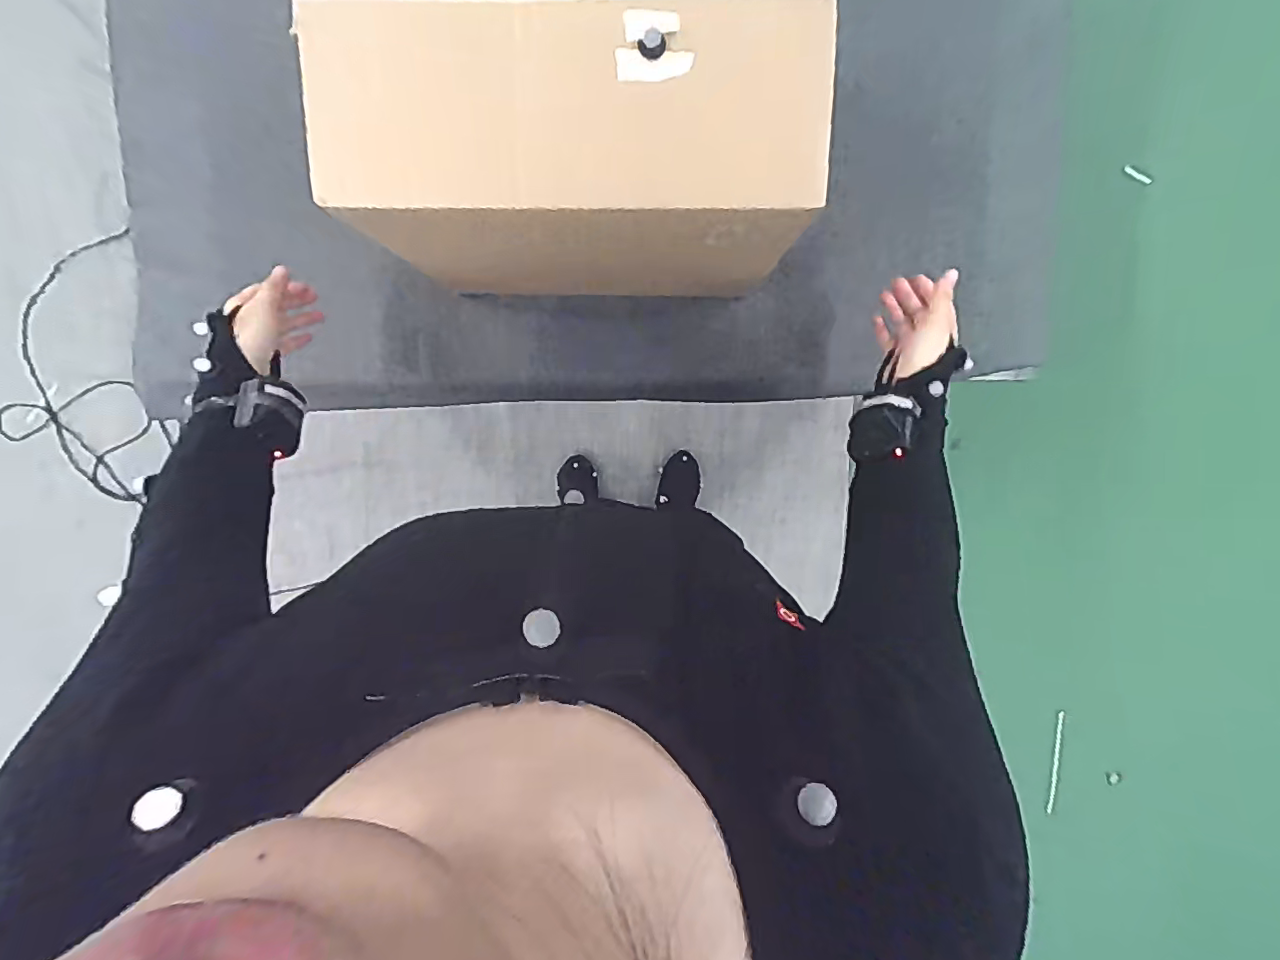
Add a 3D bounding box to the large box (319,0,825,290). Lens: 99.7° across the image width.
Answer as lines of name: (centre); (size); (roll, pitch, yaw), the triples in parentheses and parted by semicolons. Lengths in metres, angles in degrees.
large box: (-0.054, -0.395, 0.569); (0.408, 0.320, 0.320); (0, 98, 0)
